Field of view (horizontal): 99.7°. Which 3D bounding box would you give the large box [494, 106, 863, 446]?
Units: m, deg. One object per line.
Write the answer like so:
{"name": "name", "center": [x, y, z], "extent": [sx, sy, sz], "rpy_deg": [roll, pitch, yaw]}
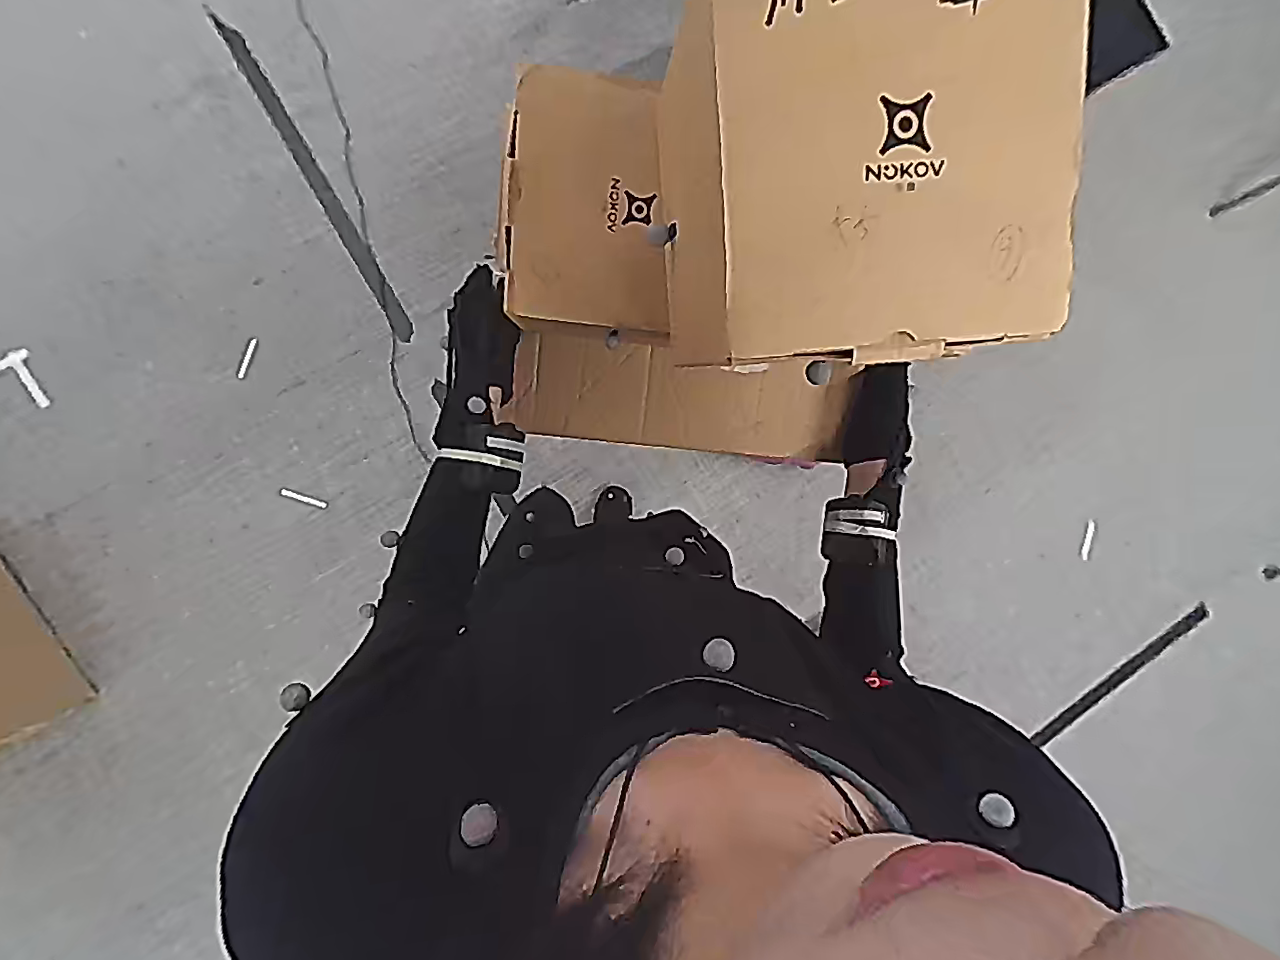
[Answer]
{"name": "large box", "center": [0.034, -0.224, 0.711], "extent": [0.408, 0.320, 0.320], "rpy_deg": [4, 100, -8]}

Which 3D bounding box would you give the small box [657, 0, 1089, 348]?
{"name": "small box", "center": [0.105, -0.171, 0.313], "extent": [0.168, 0.176, 0.179], "rpy_deg": [-6, 102, -5]}
